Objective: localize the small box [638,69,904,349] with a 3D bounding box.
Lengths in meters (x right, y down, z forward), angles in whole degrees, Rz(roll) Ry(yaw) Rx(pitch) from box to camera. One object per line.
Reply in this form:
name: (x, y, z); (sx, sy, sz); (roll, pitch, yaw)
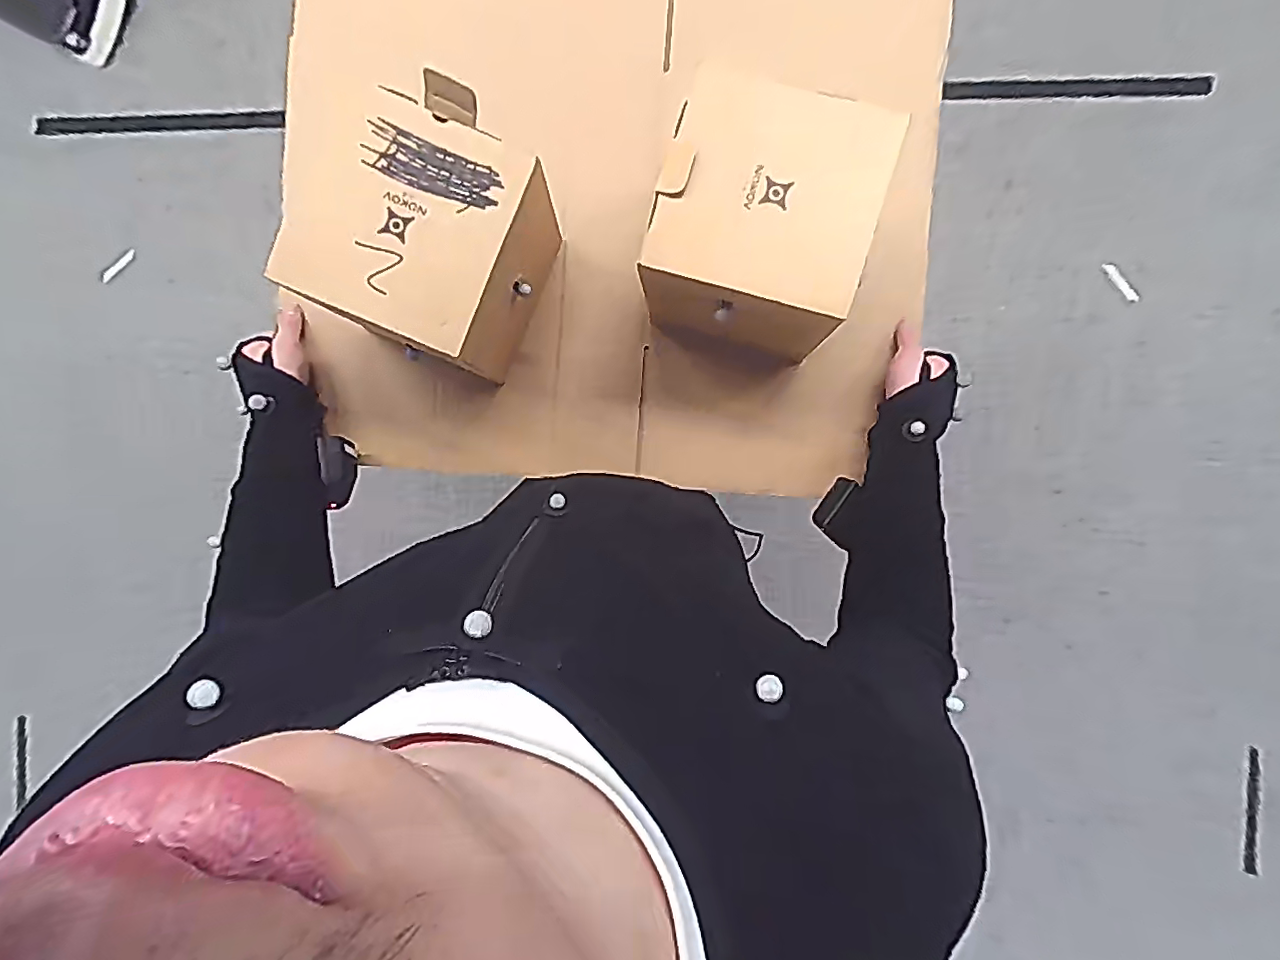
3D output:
small box: (0.112, -0.235, 0.517); (0.179, 0.176, 0.168); (17, 93, 6)
